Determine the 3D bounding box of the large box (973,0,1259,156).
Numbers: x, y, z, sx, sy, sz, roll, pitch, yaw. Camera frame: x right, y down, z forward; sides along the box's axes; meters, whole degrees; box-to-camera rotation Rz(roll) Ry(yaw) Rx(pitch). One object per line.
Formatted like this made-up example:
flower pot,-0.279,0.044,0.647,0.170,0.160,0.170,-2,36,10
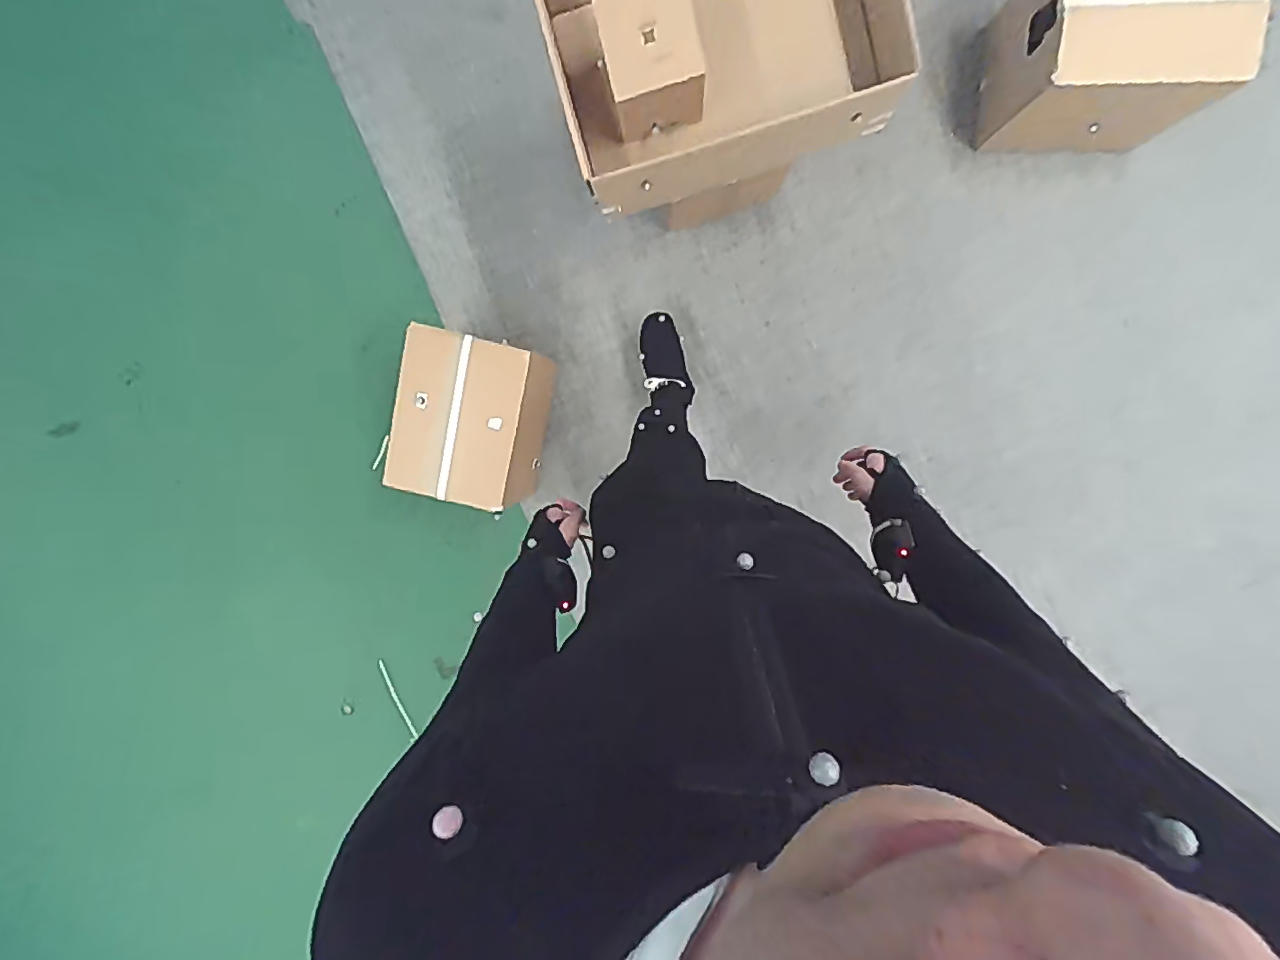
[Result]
large box,1.075,-0.992,1.262,0.408,0.320,0.320,1,97,4
